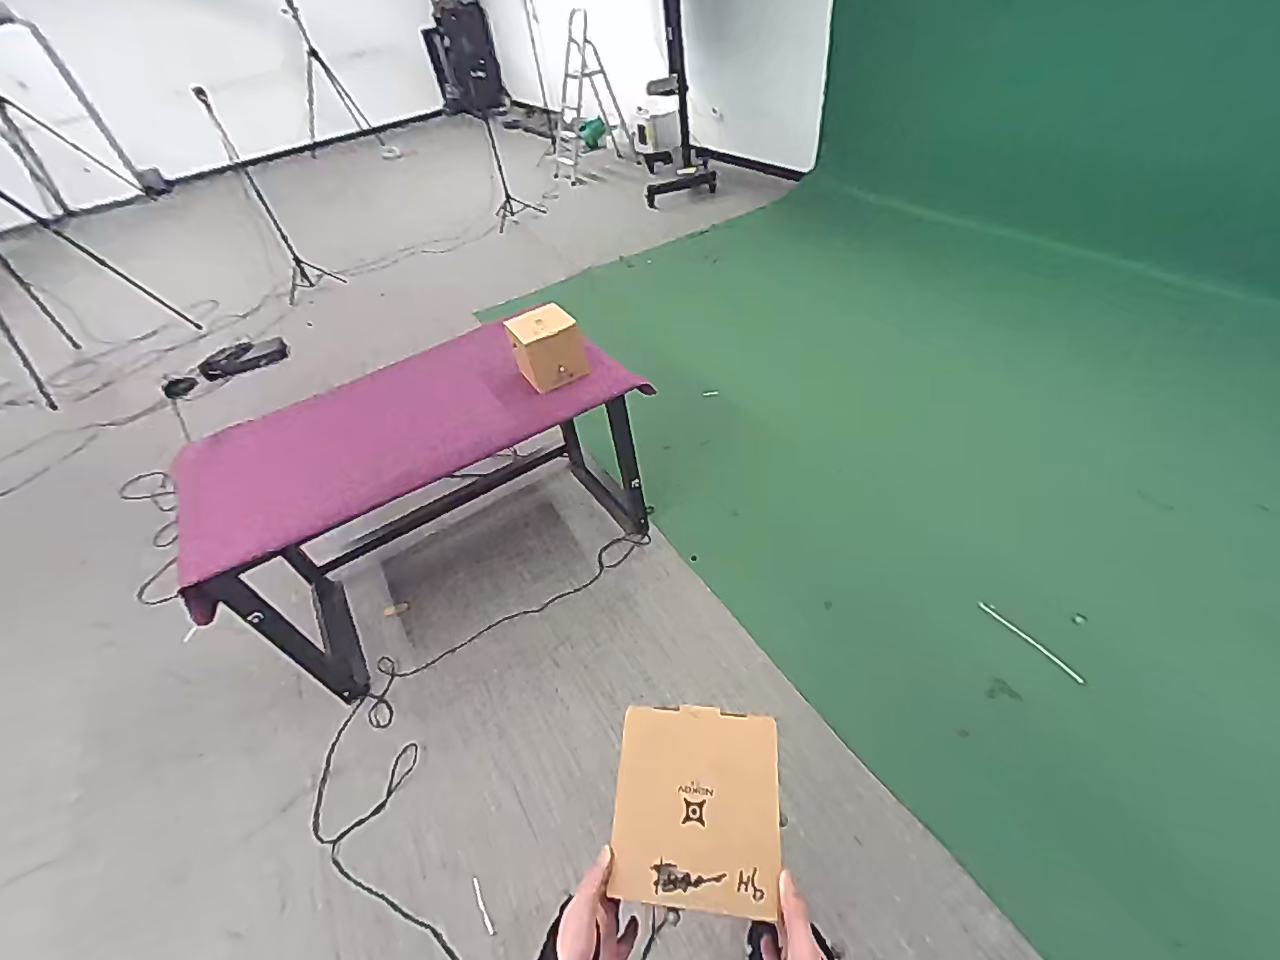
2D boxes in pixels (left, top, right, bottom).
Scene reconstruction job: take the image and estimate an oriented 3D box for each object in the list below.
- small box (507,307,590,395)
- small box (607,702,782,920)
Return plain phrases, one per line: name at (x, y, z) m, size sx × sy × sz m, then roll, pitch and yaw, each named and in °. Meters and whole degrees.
small box at (-0.266, -0.378, 1.589) m, size 0.168 × 0.176 × 0.179 m, roll -27°, pitch 46°, yaw -15°
small box at (0.068, 0.369, 0.613) m, size 0.168 × 0.176 × 0.179 m, roll 1°, pitch 56°, yaw 10°
